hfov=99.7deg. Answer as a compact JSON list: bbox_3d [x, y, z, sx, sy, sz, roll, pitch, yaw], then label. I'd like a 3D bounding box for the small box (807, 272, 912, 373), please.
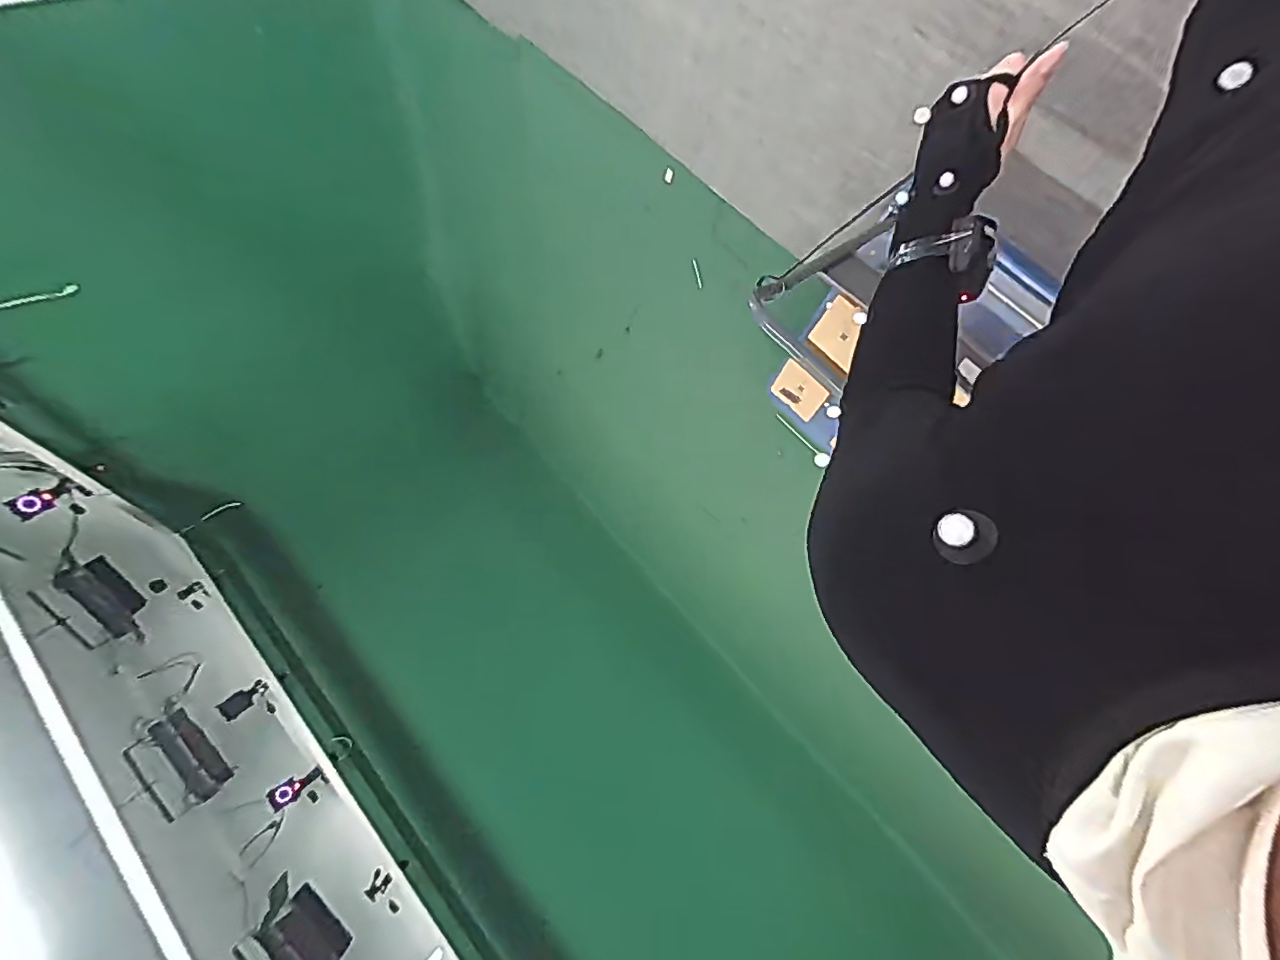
[{"bbox_3d":[0.609,-0.436,1.499,0.168,0.176,0.179,47,153,11],"label":"small box"}]

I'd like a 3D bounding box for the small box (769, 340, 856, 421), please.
[{"bbox_3d":[0.552,-0.328,1.723,0.168,0.176,0.179,45,152,13],"label":"small box"}]
